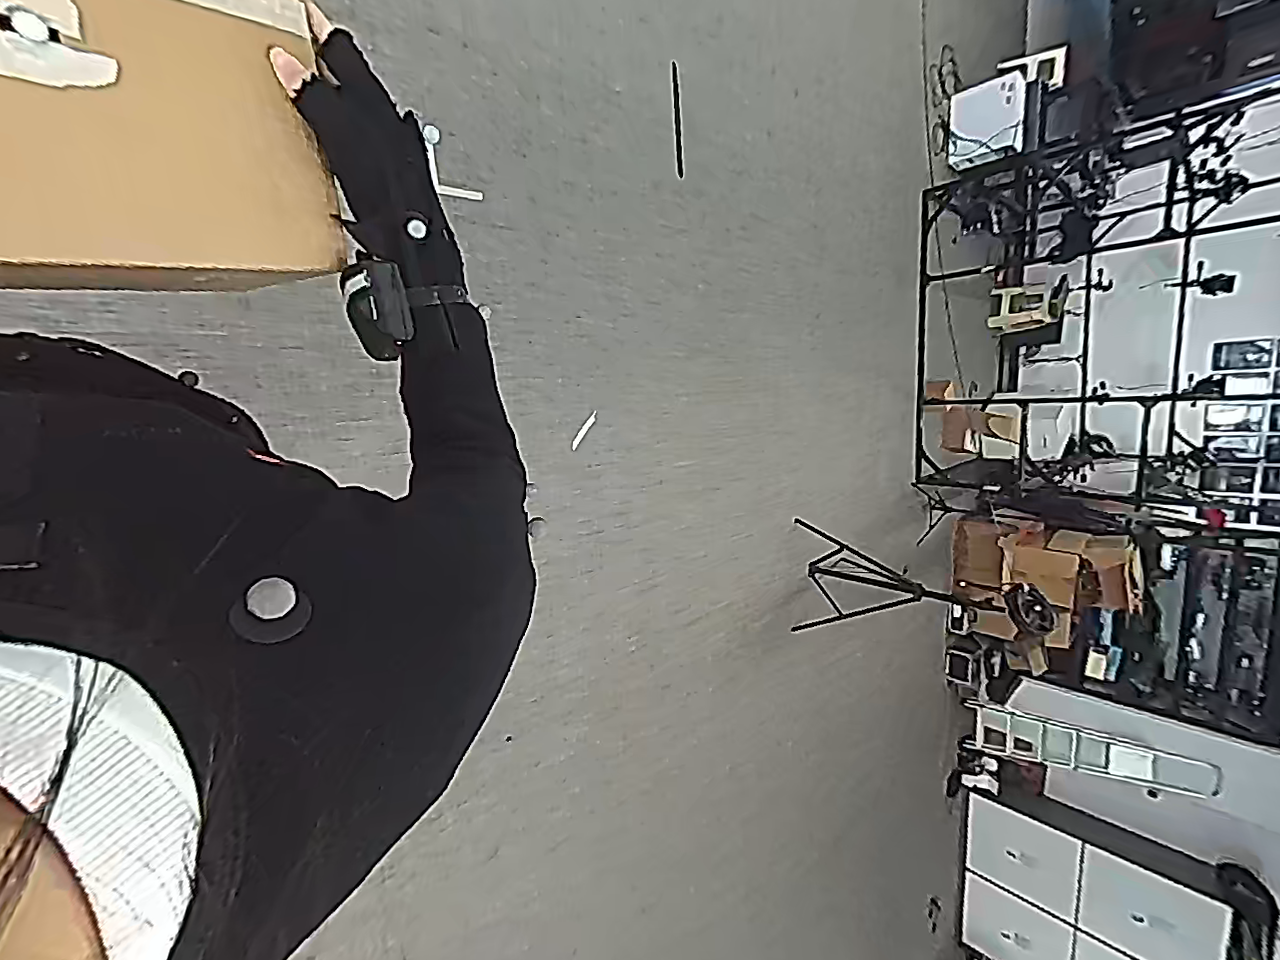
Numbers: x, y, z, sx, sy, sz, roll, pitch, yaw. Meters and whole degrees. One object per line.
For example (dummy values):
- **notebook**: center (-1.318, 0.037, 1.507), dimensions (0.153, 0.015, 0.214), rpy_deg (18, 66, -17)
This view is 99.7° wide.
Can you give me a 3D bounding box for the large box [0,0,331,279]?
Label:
- **large box**: center (-0.485, -0.295, 0.331), dimensions (0.408, 0.320, 0.320), rpy_deg (-19, 116, -44)
